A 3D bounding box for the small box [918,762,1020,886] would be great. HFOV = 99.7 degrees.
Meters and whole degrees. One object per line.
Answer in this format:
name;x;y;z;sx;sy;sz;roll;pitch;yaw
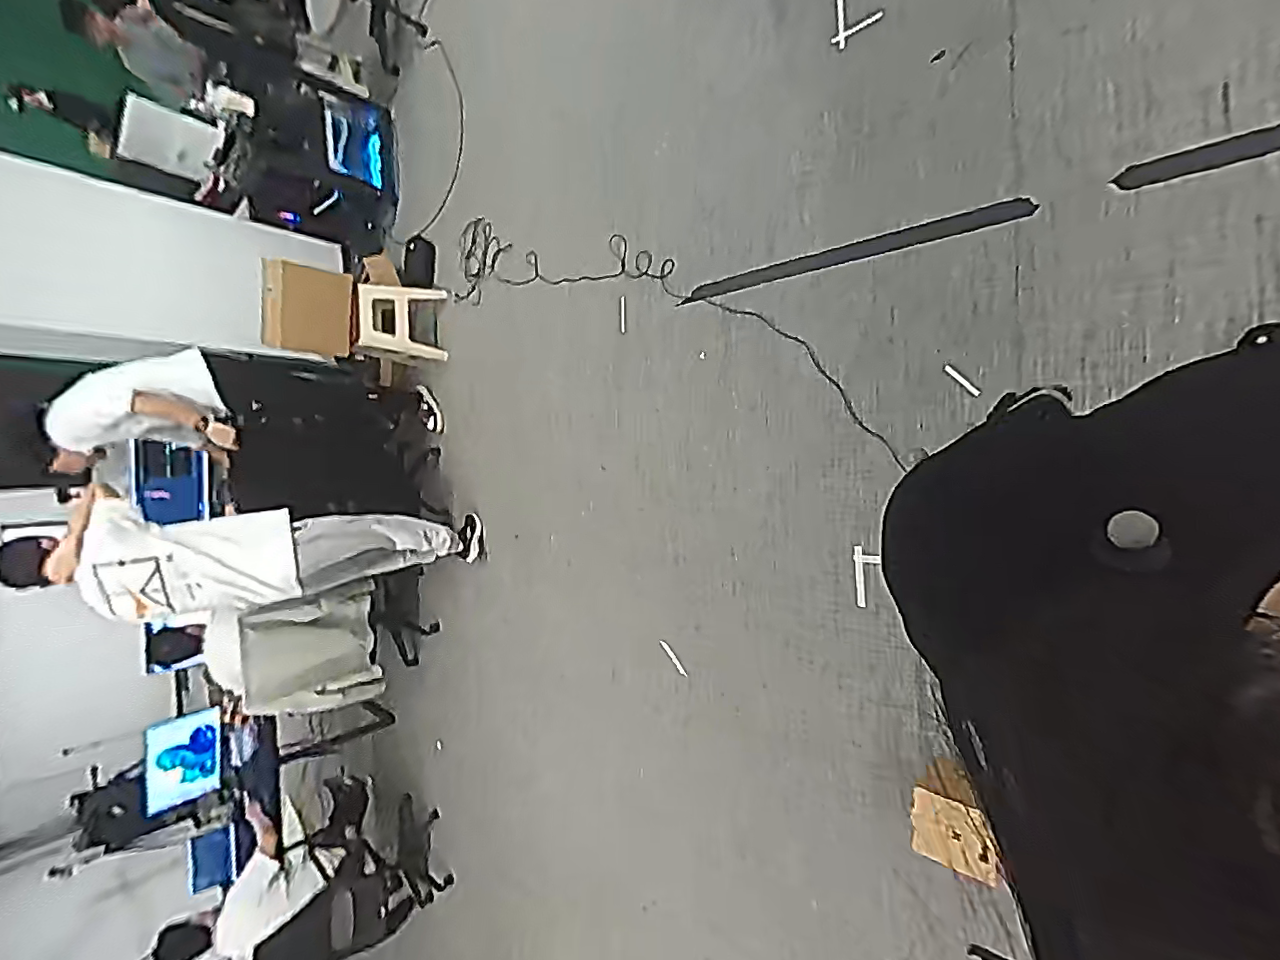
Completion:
small box;0.796;0.815;1.308;0.179;0.176;0.168;3;94;43
